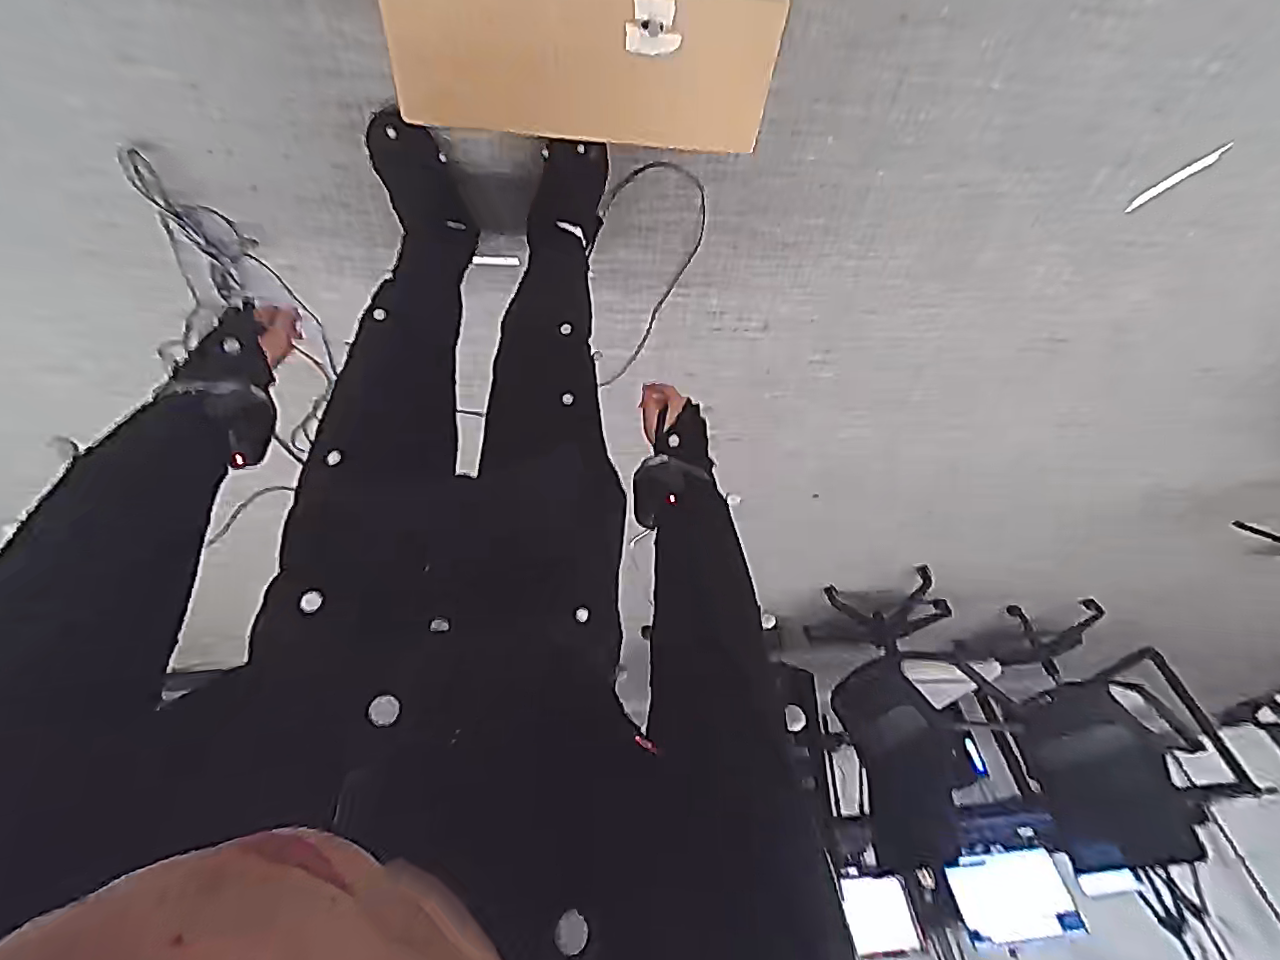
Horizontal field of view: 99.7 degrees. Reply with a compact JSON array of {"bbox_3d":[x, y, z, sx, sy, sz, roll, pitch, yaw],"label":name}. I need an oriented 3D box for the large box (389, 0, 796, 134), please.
[{"bbox_3d":[-0.053,-0.611,0.584,0.408,0.320,0.320,0,141,-9],"label":"large box"}]
